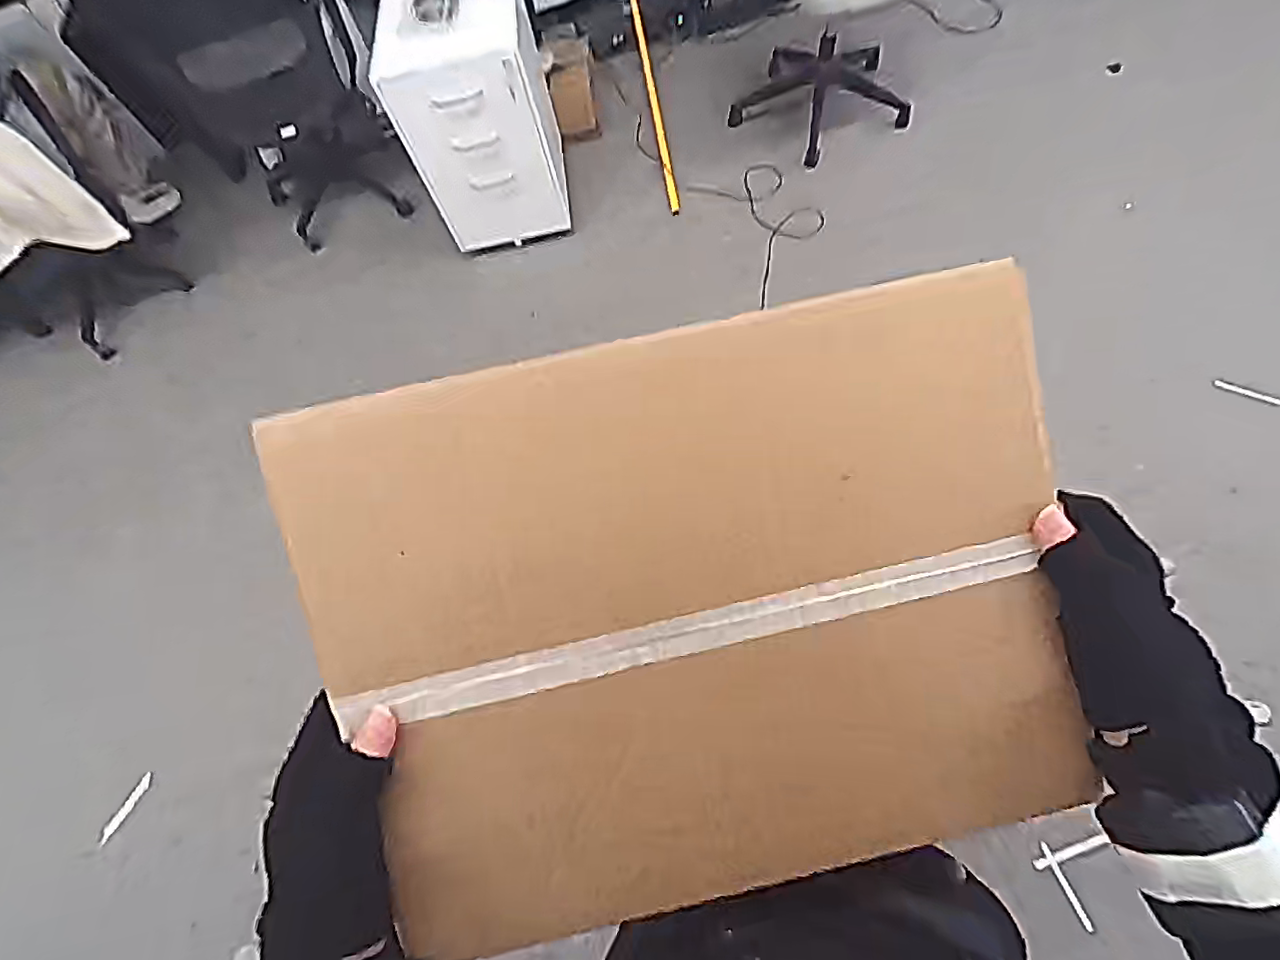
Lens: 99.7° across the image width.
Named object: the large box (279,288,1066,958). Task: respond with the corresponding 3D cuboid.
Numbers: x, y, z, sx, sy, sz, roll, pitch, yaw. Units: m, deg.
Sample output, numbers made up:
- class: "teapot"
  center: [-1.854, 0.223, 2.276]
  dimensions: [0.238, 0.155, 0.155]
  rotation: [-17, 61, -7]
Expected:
- class: "large box"
  center: [0.028, 0.071, 0.453]
  dimensions: [0.408, 0.320, 0.320]
  rotation: [-13, 96, -2]
